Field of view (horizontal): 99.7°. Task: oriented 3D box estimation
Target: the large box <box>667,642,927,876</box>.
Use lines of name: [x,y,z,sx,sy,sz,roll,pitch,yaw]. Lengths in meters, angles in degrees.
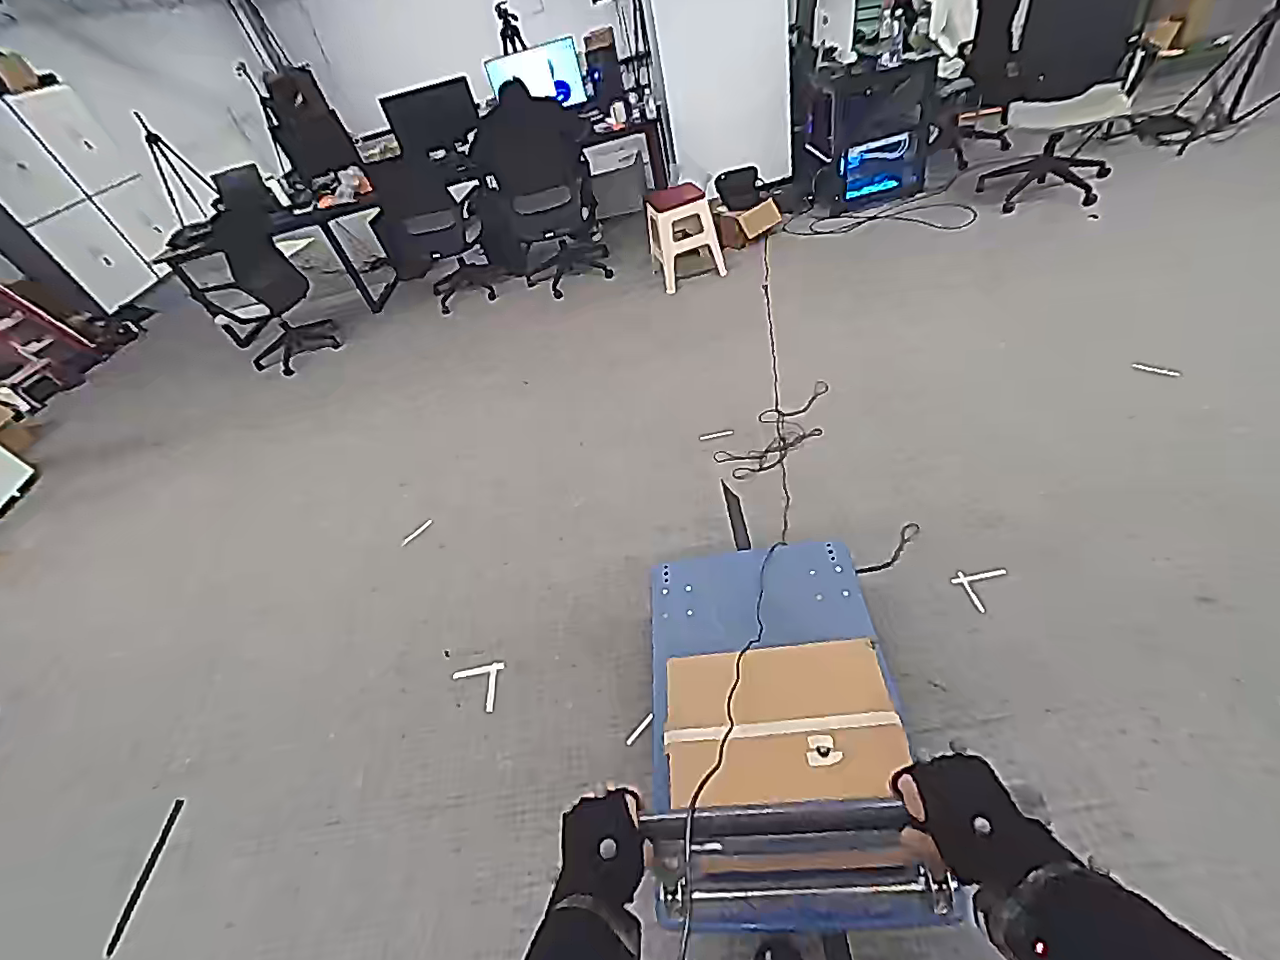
large box: [0.279,0.554,1.064,0.408,0.320,0.320,-8,44,9]
